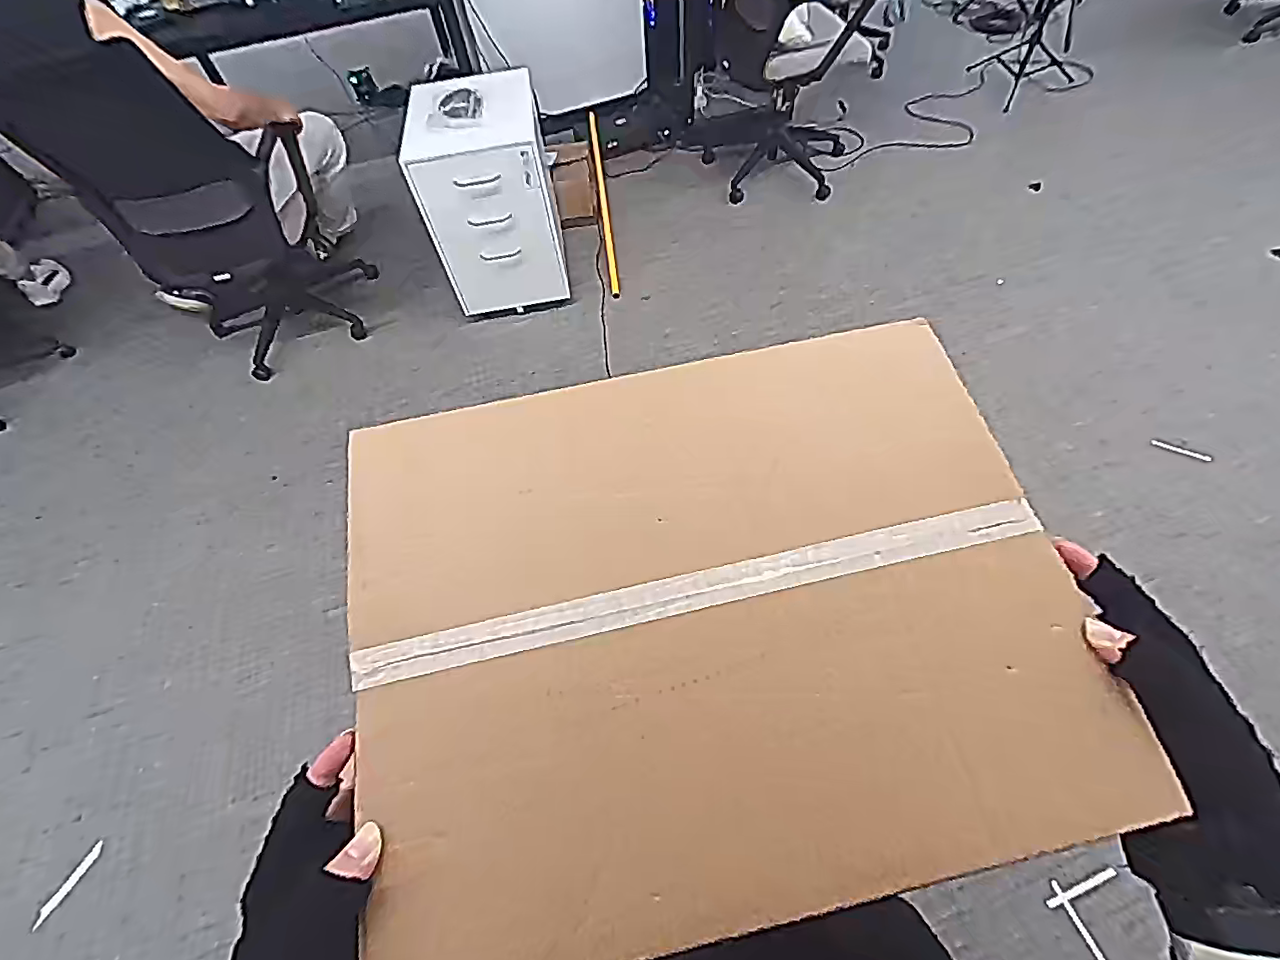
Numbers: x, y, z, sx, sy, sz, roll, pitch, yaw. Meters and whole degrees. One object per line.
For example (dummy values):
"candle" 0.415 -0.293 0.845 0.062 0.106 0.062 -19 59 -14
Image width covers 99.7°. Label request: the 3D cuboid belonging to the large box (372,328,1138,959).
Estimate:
"large box" 0.042 0.124 0.466 0.408 0.320 0.320 -12 68 -3
